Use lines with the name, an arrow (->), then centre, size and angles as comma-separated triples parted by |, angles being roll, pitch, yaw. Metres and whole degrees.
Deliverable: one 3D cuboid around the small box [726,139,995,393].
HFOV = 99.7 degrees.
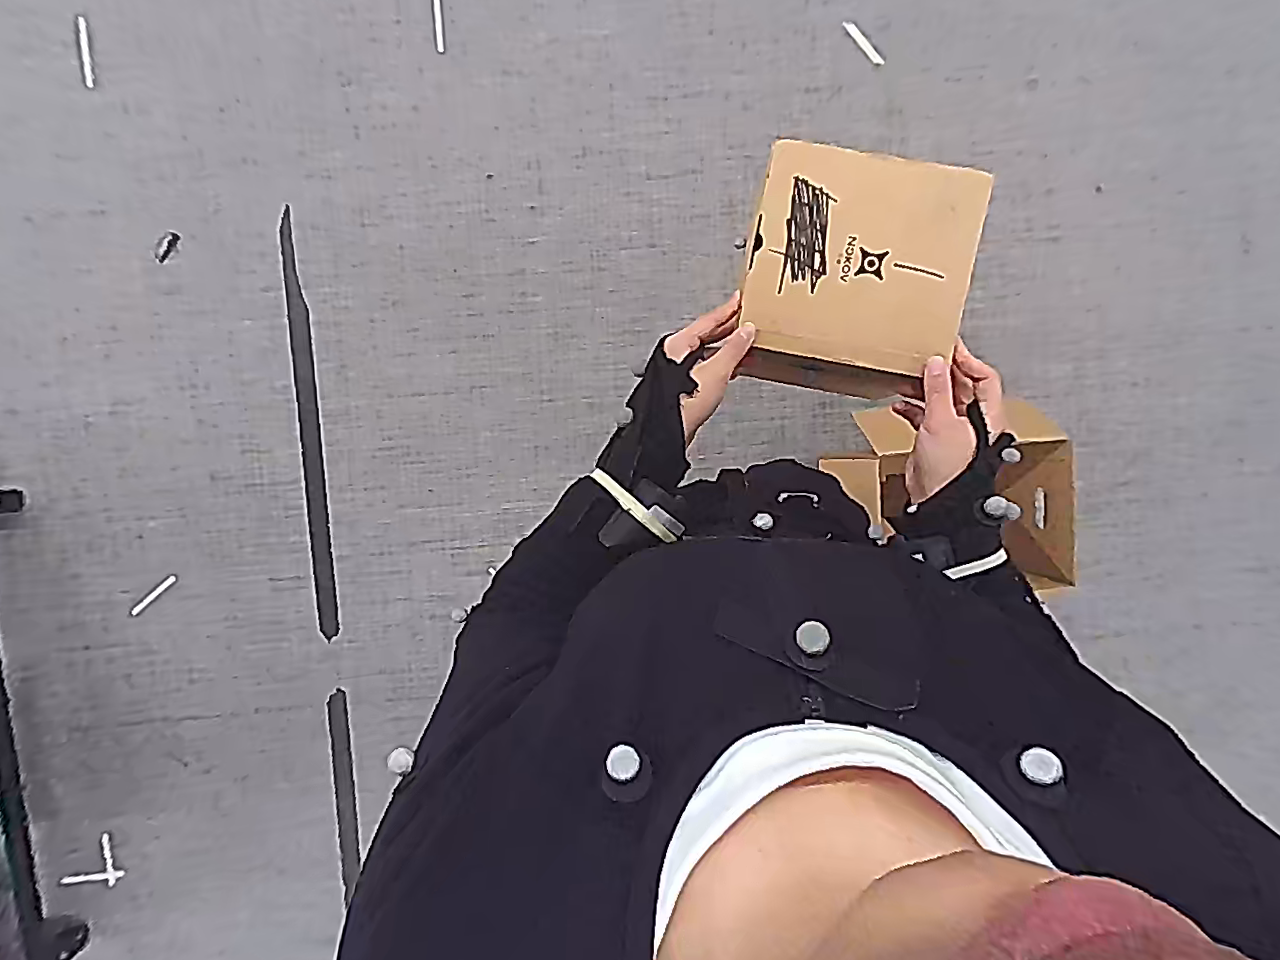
small box -> 0.182, -0.181, 0.508 | 0.179, 0.176, 0.168 | 11, 95, 4
